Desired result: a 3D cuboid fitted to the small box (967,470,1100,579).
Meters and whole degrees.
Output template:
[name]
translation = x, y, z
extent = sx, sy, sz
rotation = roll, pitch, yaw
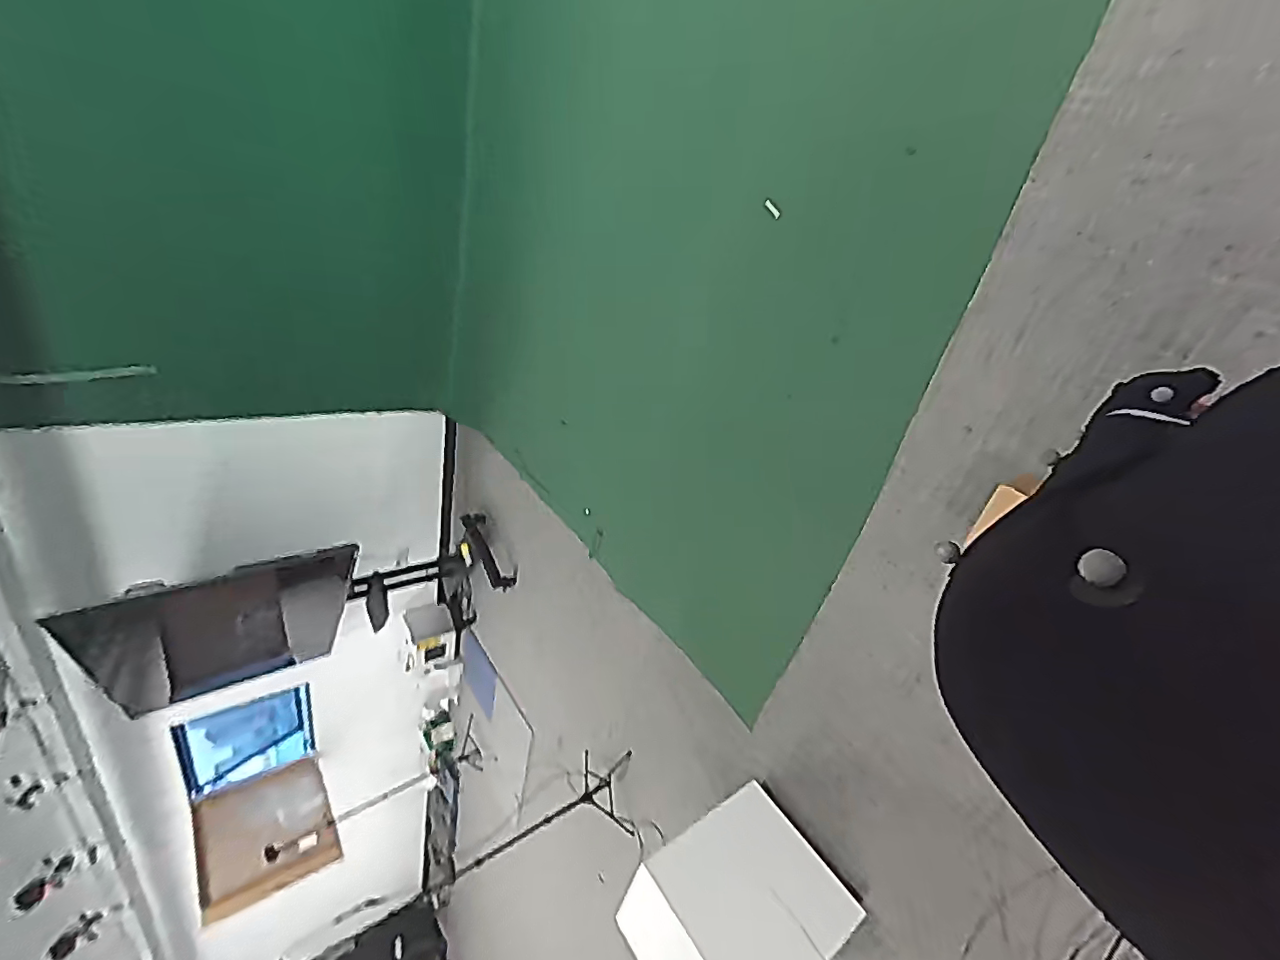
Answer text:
[small box]
translation = 0.898, 0.095, 1.232
extent = 0.168, 0.176, 0.179
rotation = 40, 126, 39
